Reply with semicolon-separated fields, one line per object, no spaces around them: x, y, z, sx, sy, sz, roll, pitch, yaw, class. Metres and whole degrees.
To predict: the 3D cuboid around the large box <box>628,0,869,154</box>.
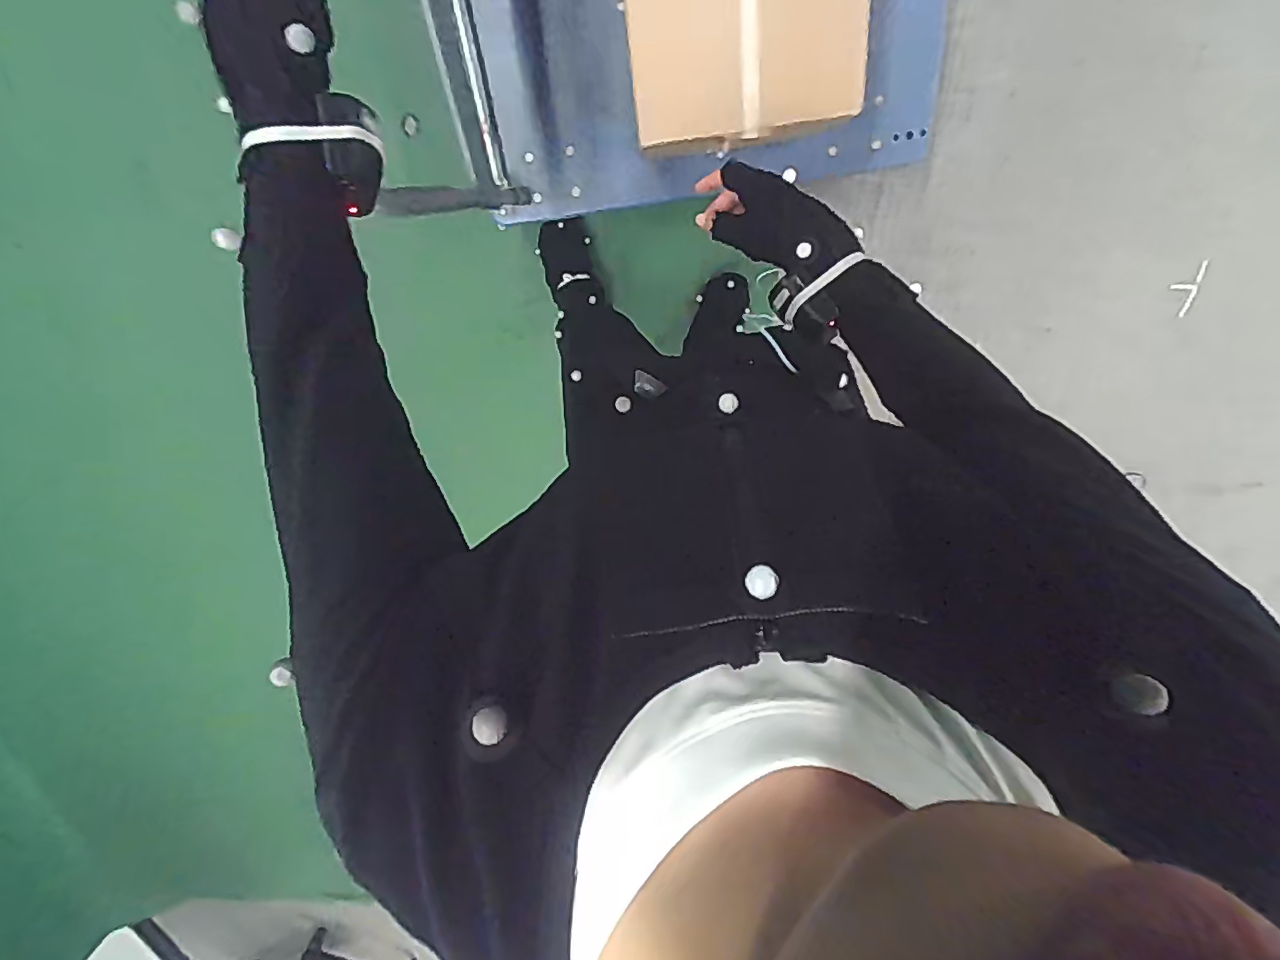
0.139;-0.754;0.808;0.320;0.320;0.408;-5;116;5;large box
